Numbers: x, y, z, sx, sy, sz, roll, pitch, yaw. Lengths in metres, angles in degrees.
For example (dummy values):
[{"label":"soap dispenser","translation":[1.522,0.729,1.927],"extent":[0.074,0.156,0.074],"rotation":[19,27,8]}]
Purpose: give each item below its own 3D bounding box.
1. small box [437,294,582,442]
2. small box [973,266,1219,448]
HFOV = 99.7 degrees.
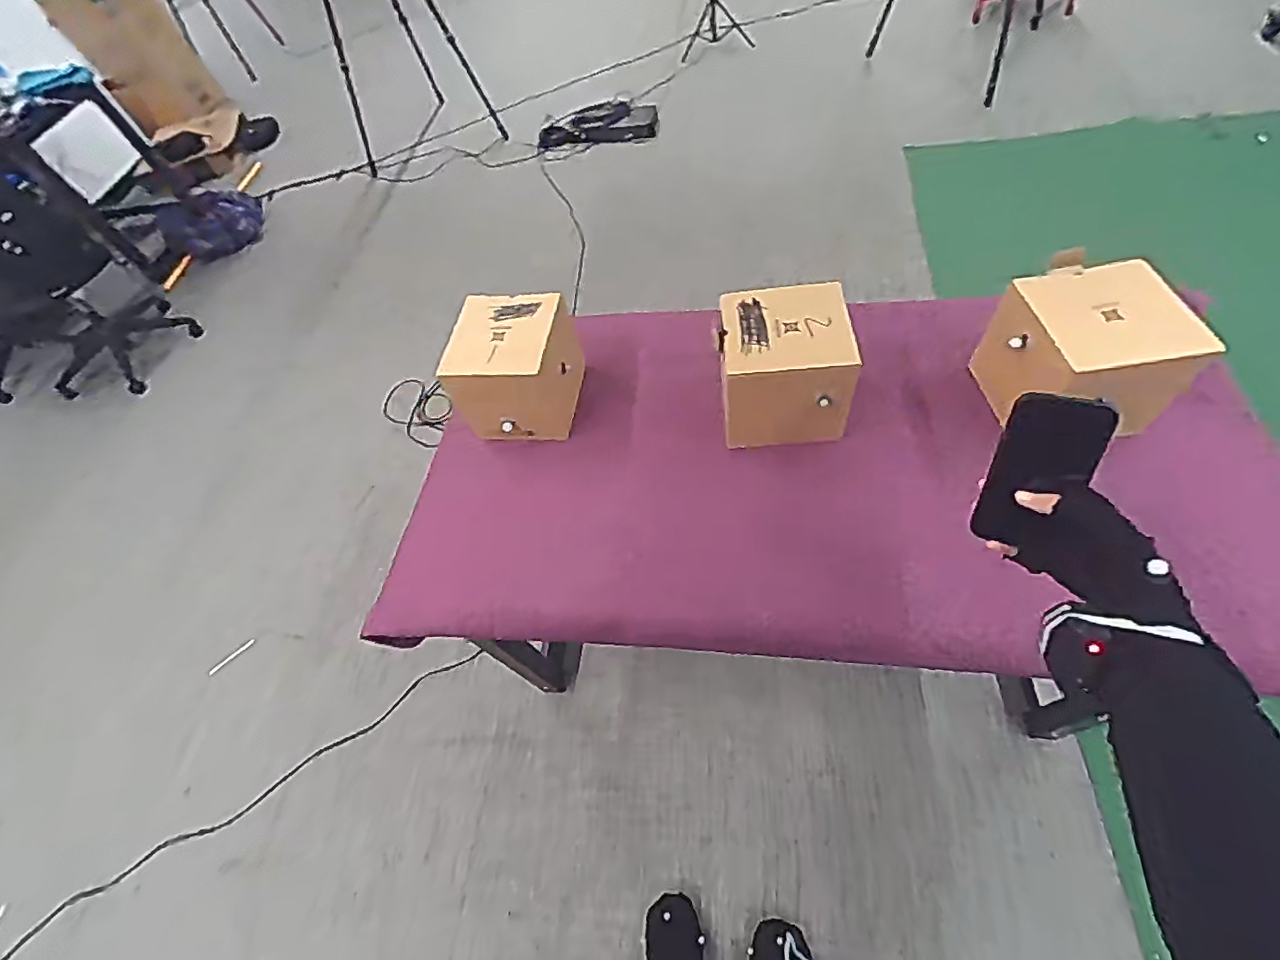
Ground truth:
[{"label":"small box","translation":[-0.202,-0.185,0.899],"extent":[0.168,0.176,0.179],"rotation":[2,60,12]},{"label":"small box","translation":[0.597,-0.157,0.741],"extent":[0.168,0.176,0.179],"rotation":[-8,56,6]}]
